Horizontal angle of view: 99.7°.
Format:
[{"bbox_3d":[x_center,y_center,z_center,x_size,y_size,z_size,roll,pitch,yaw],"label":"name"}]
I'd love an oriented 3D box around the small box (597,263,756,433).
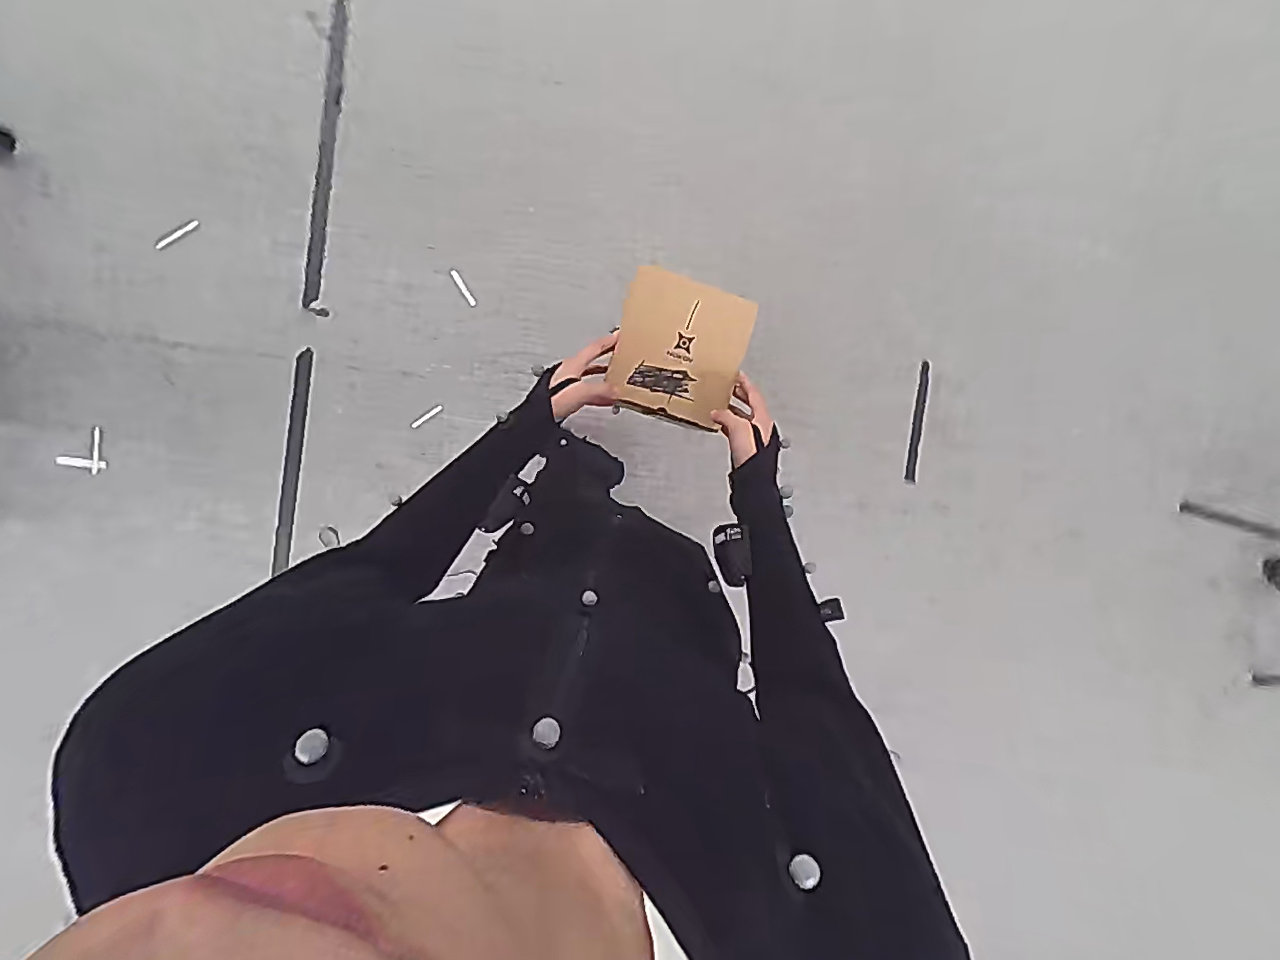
[{"bbox_3d":[0.040,-0.173,0.765,0.168,0.176,0.179,16,94,-8],"label":"small box"}]
